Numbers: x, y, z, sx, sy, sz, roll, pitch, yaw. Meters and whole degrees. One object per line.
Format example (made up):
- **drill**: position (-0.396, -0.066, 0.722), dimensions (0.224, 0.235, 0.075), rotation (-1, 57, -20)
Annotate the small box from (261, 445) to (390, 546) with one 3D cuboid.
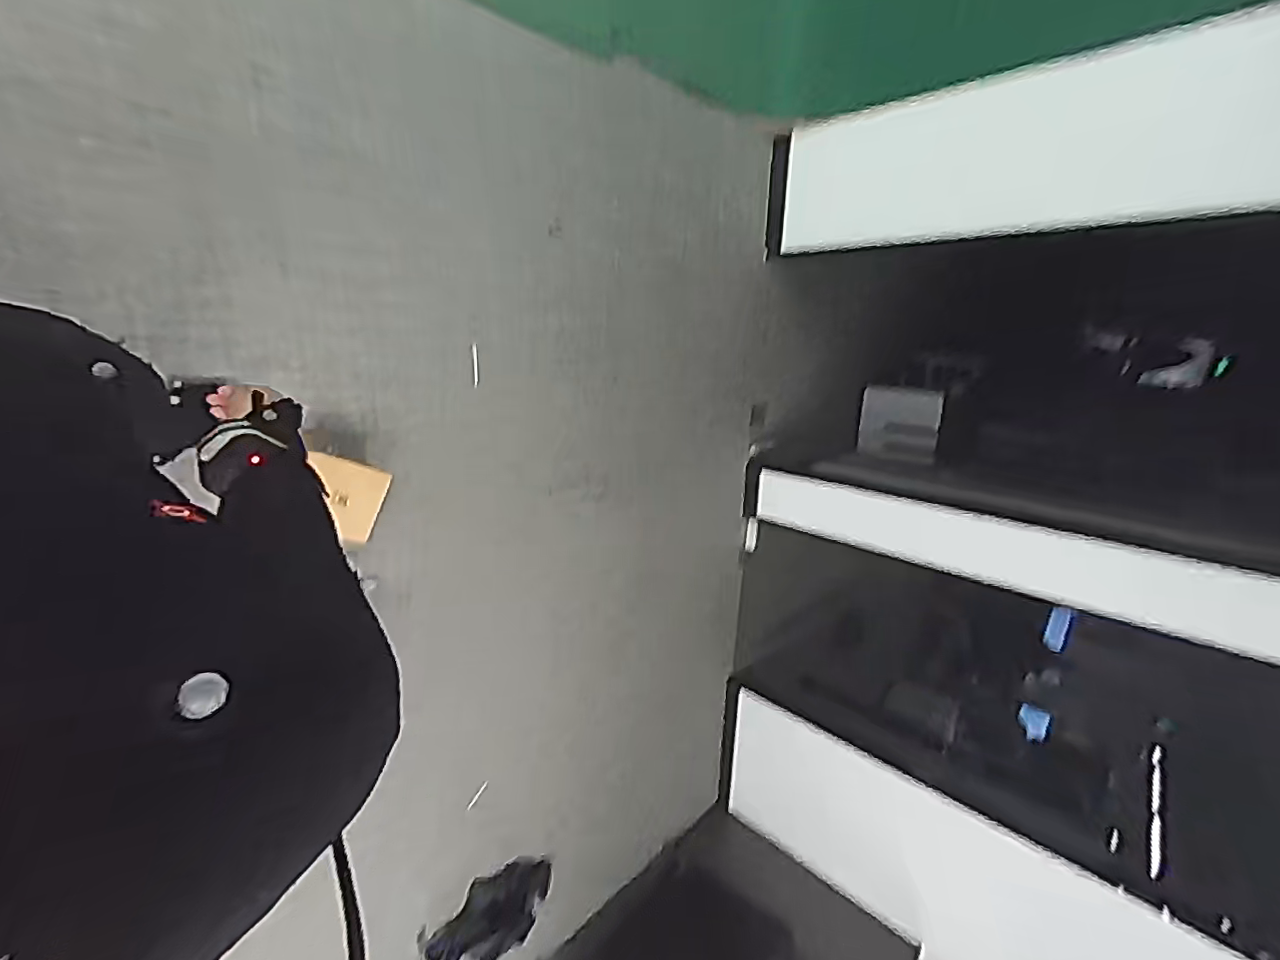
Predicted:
- **small box**: position (-0.702, 0.031, 1.207), dimensions (0.179, 0.176, 0.168), rotation (25, 83, -48)
